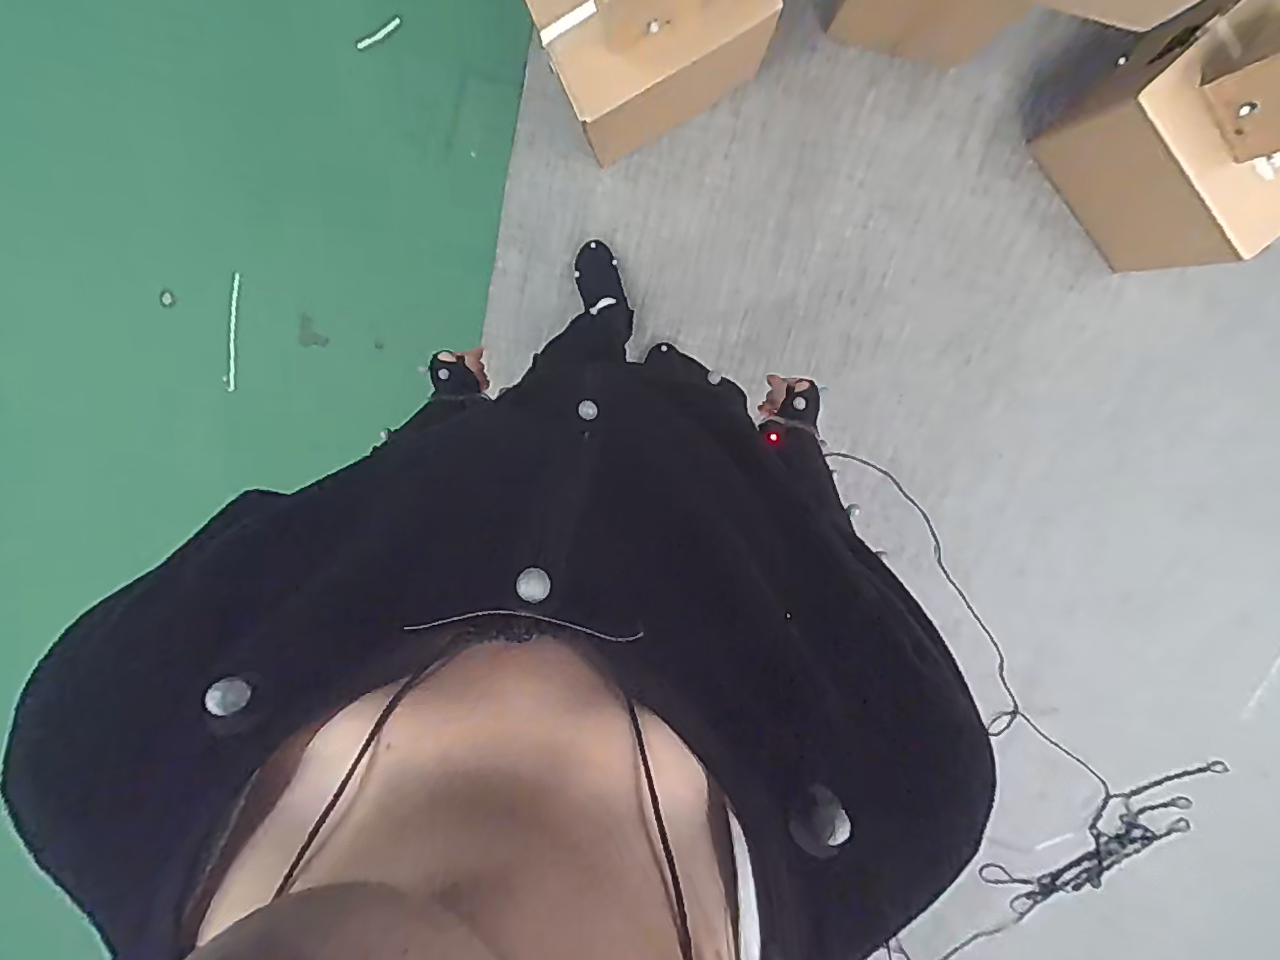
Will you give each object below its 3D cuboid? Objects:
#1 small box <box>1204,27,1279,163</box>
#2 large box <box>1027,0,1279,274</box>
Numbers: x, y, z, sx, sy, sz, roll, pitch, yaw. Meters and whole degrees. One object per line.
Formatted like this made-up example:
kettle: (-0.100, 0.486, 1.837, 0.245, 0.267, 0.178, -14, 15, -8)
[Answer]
small box: (1.106, -0.662, 0.878, 0.179, 0.176, 0.168, -40, 102, 11)
large box: (1.137, -0.697, 1.121, 0.408, 0.320, 0.320, 43, 104, -12)
